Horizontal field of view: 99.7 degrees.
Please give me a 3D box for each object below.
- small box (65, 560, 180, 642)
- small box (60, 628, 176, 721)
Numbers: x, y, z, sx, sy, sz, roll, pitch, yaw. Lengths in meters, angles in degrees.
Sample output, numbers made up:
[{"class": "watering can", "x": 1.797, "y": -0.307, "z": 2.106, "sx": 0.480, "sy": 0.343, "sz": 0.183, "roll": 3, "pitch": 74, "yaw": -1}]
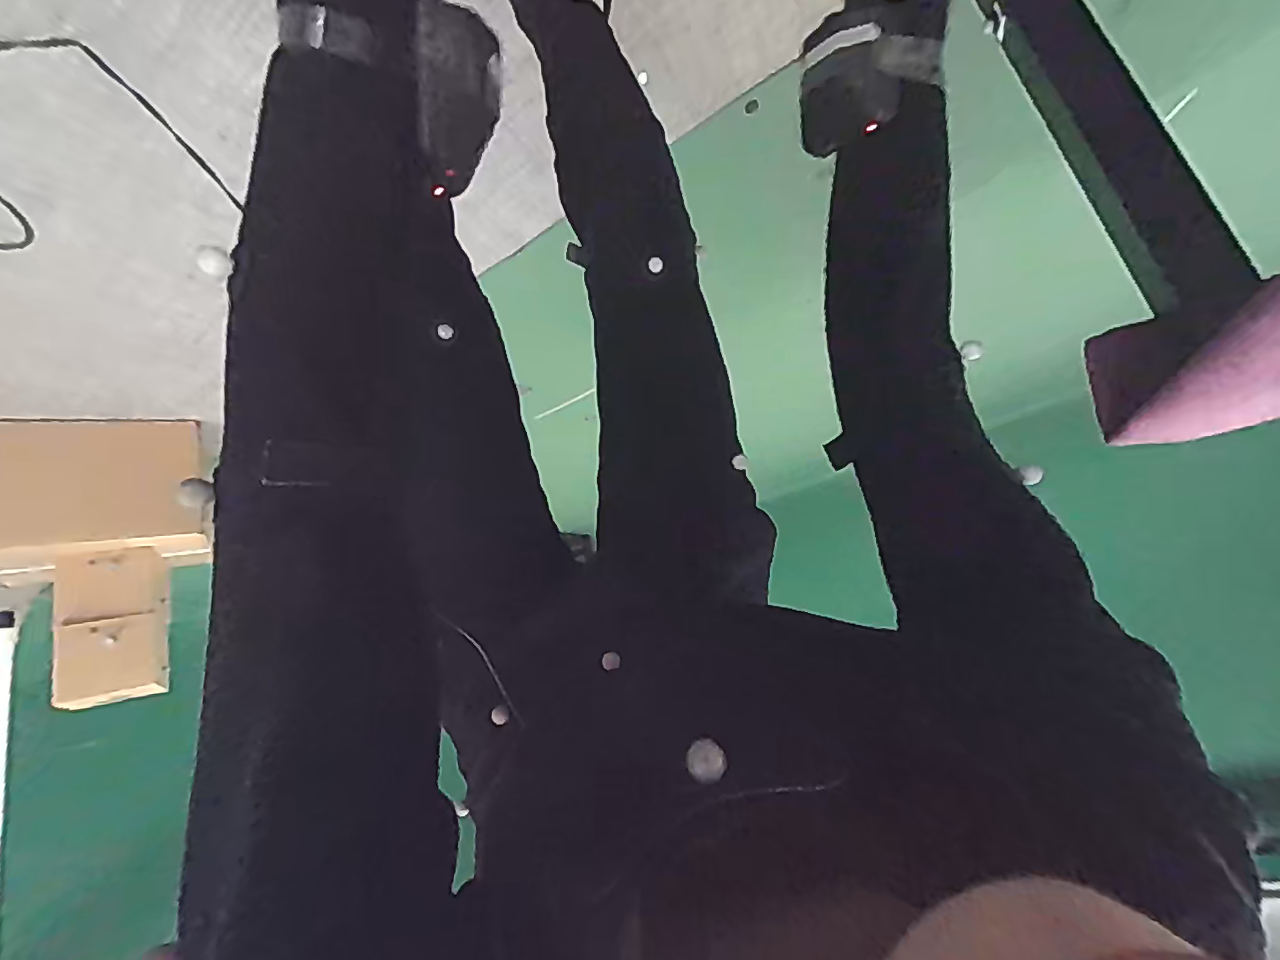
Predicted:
[{"class": "small box", "x": -1.246, "y": 0.302, "z": 1.316, "sx": 0.168, "sy": 0.176, "sz": 0.179, "roll": -5, "pitch": 160, "yaw": -29}, {"class": "small box", "x": -1.201, "y": 0.449, "z": 1.258, "sx": 0.168, "sy": 0.176, "sz": 0.179, "roll": -3, "pitch": 159, "yaw": -34}]
